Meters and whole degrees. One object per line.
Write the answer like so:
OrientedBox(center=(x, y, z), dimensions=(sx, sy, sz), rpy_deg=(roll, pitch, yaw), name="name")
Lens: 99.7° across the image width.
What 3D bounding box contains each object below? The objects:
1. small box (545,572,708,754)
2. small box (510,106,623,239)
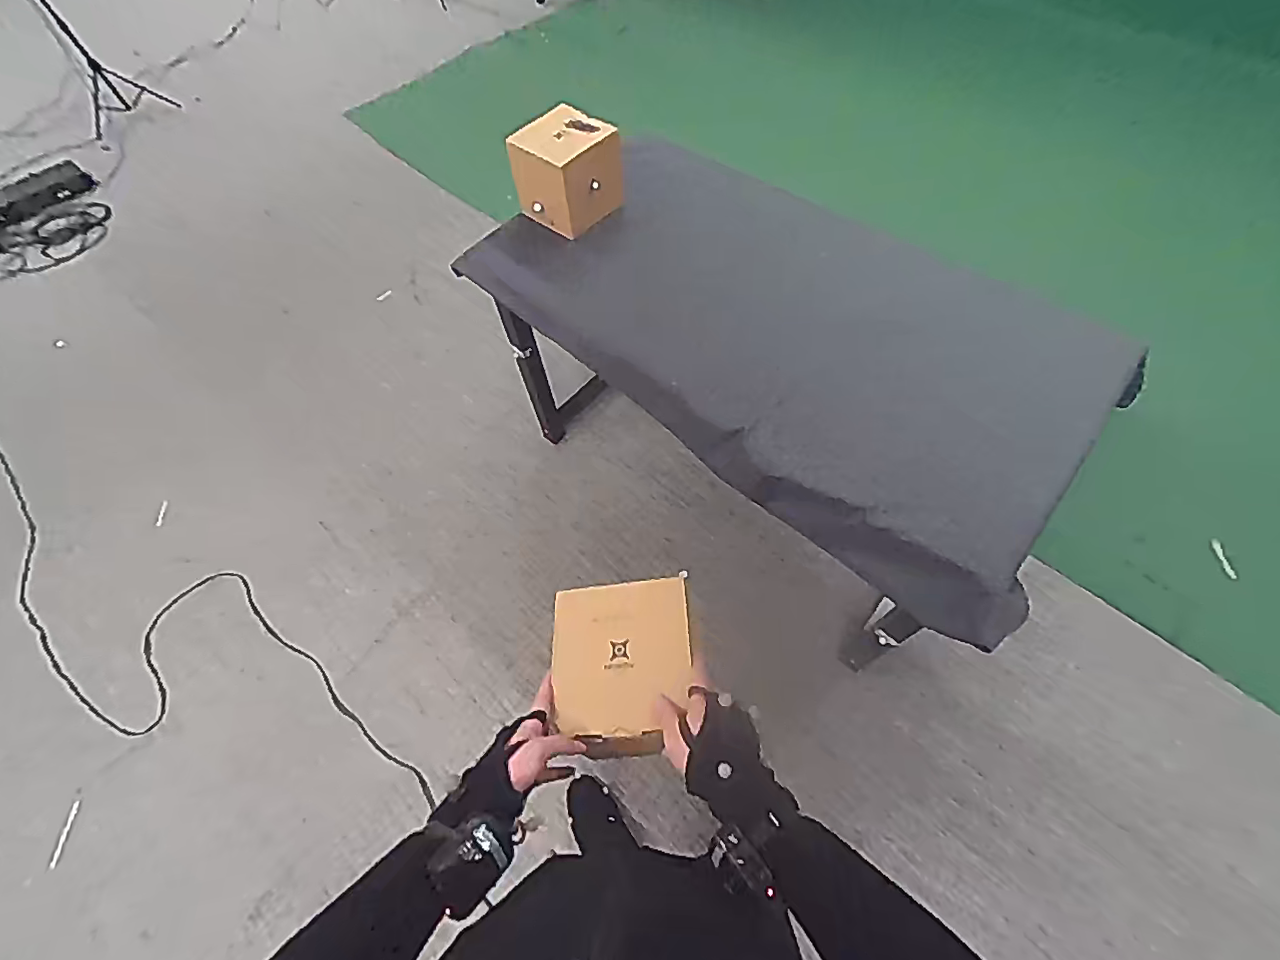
OrientedBox(center=(-0.010, 0.237, 0.678), dimensions=(0.168, 0.176, 0.179), rpy_deg=(-8, 54, 7), name="small box")
OrientedBox(center=(-0.152, -0.669, 1.182), dimensions=(0.168, 0.176, 0.179), rpy_deg=(36, 68, 21), name="small box")
